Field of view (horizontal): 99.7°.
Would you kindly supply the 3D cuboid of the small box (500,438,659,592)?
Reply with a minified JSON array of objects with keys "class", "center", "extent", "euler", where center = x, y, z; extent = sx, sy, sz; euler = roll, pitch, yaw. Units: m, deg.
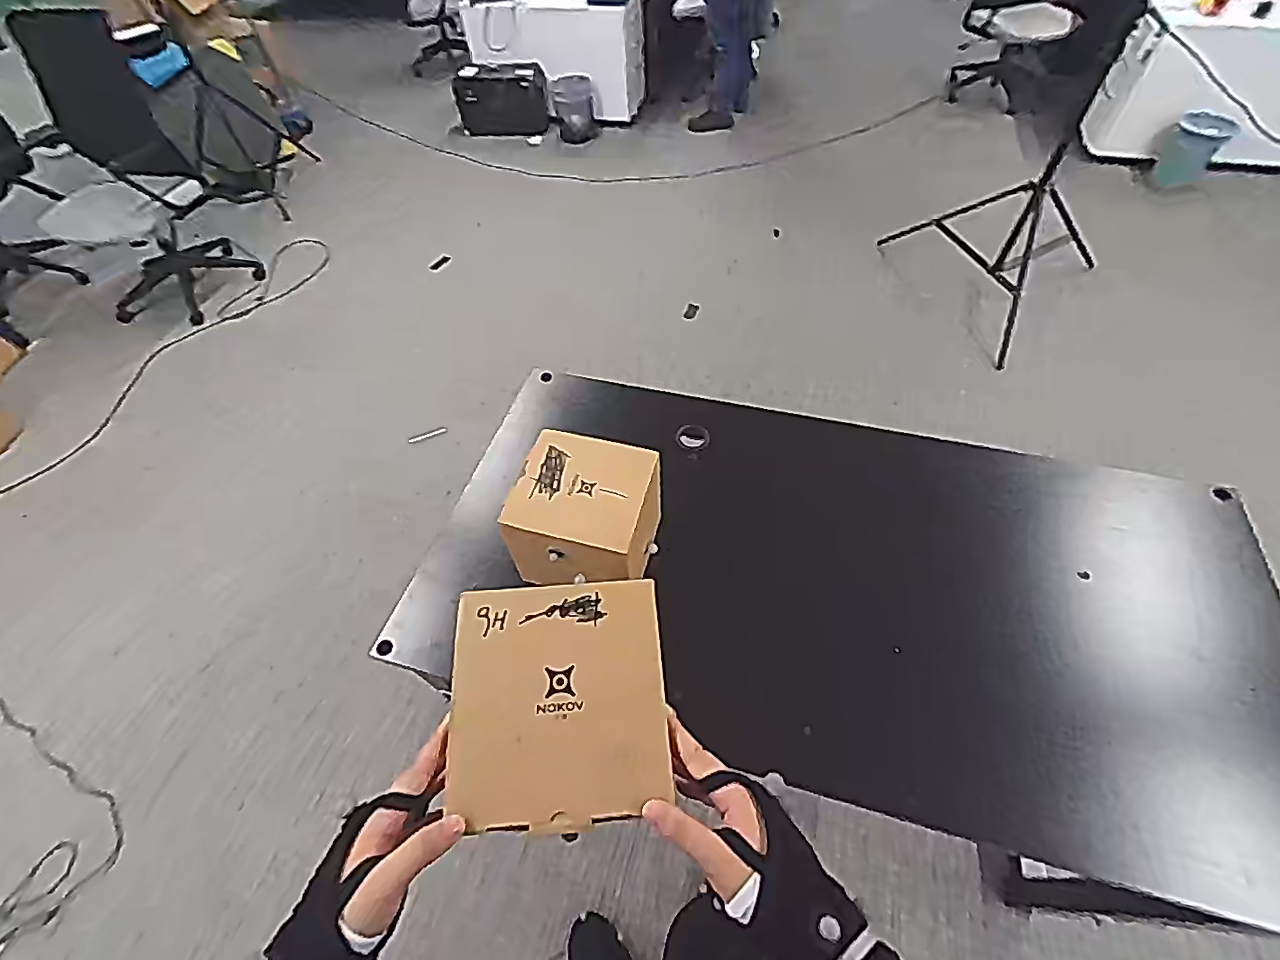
[{"class":"small box","center":[-0.075,0.065,0.790],"extent":[0.179,0.176,0.168],"euler":[11,55,10]}]

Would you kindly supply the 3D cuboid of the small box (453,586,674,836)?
[{"class":"small box","center":[-0.061,0.210,0.500],"extent":[0.168,0.176,0.179],"euler":[-3,62,-3]}]
